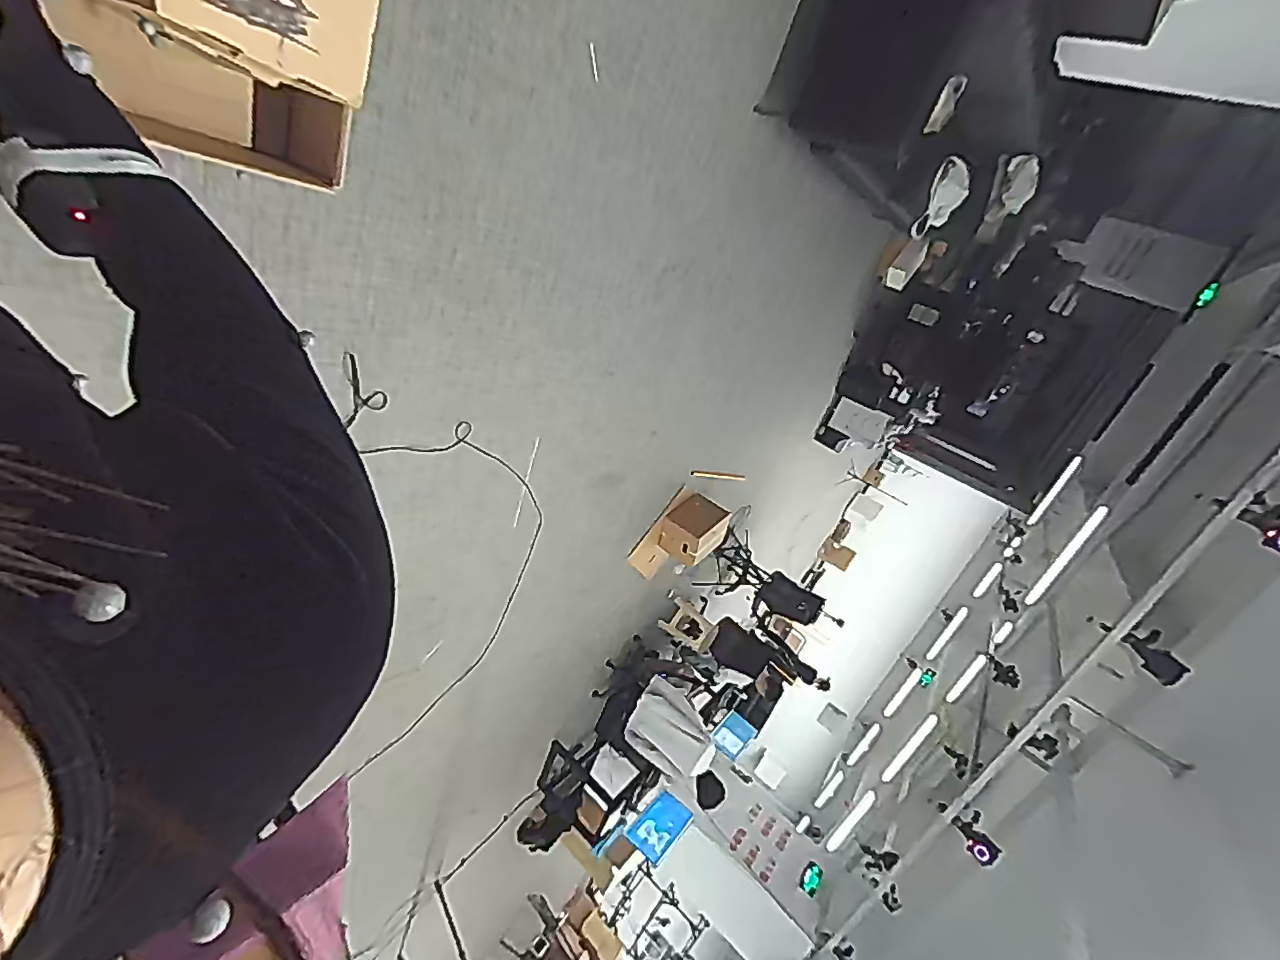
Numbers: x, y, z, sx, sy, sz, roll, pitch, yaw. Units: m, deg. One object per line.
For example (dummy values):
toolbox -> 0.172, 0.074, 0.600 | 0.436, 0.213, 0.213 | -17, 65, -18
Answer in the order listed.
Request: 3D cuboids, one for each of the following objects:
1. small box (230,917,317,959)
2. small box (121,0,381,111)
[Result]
small box -> -0.911, 1.237, 1.325 | 0.179, 0.176, 0.168 | -19, 136, -51
small box -> -0.360, -0.484, 0.495 | 0.168, 0.176, 0.179 | -11, 128, -56
